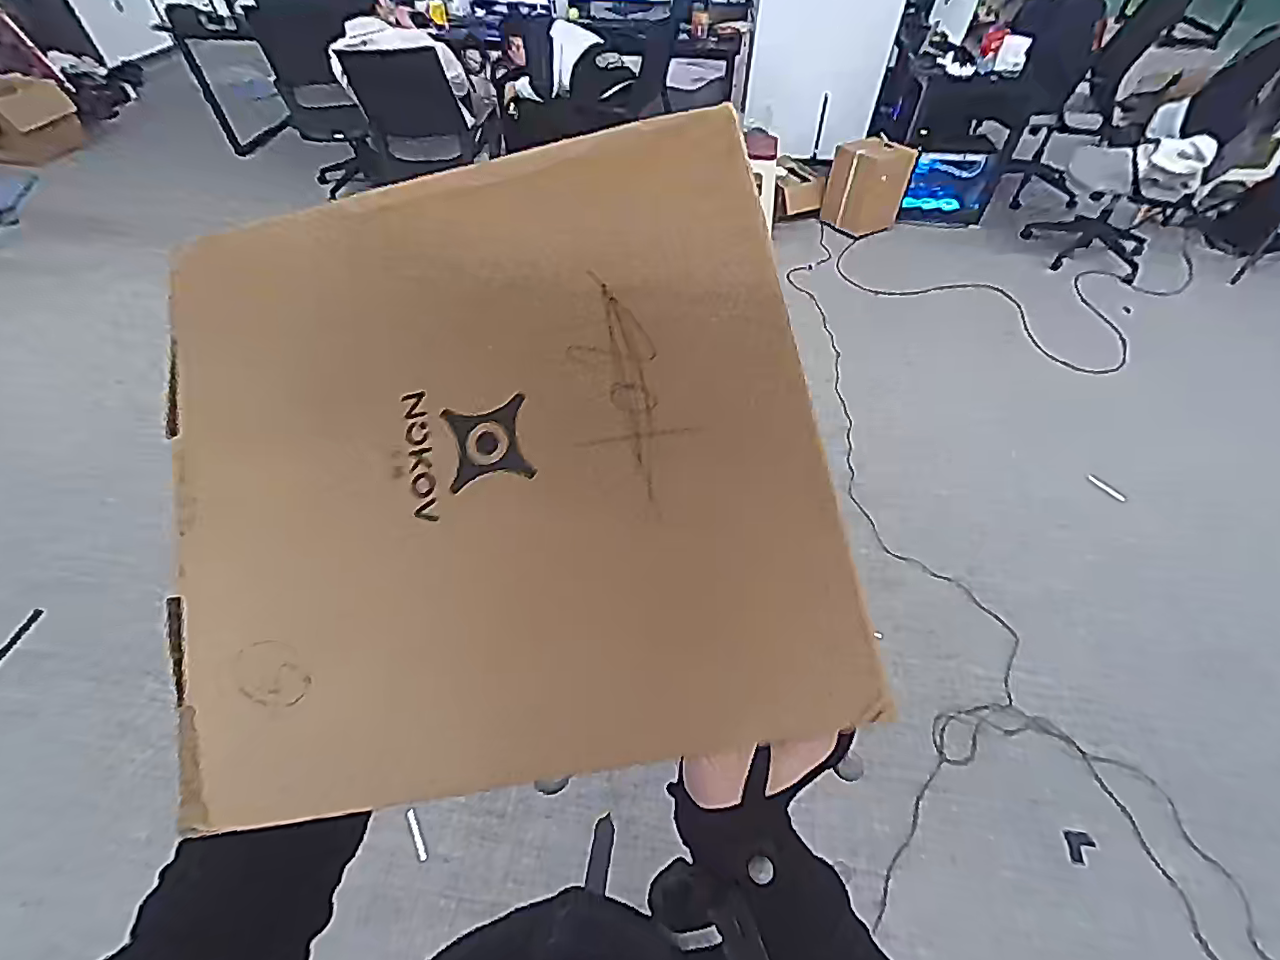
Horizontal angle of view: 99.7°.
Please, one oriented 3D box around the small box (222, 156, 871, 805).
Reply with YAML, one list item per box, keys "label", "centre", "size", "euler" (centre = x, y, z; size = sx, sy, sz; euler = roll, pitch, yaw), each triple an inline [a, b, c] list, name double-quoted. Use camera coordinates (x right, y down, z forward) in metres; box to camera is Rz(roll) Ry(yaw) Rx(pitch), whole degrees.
- label: "small box"
  centre: [-0.032, 0.010, 0.236]
  size: [0.179, 0.176, 0.168]
  euler: [-13, 78, 3]
